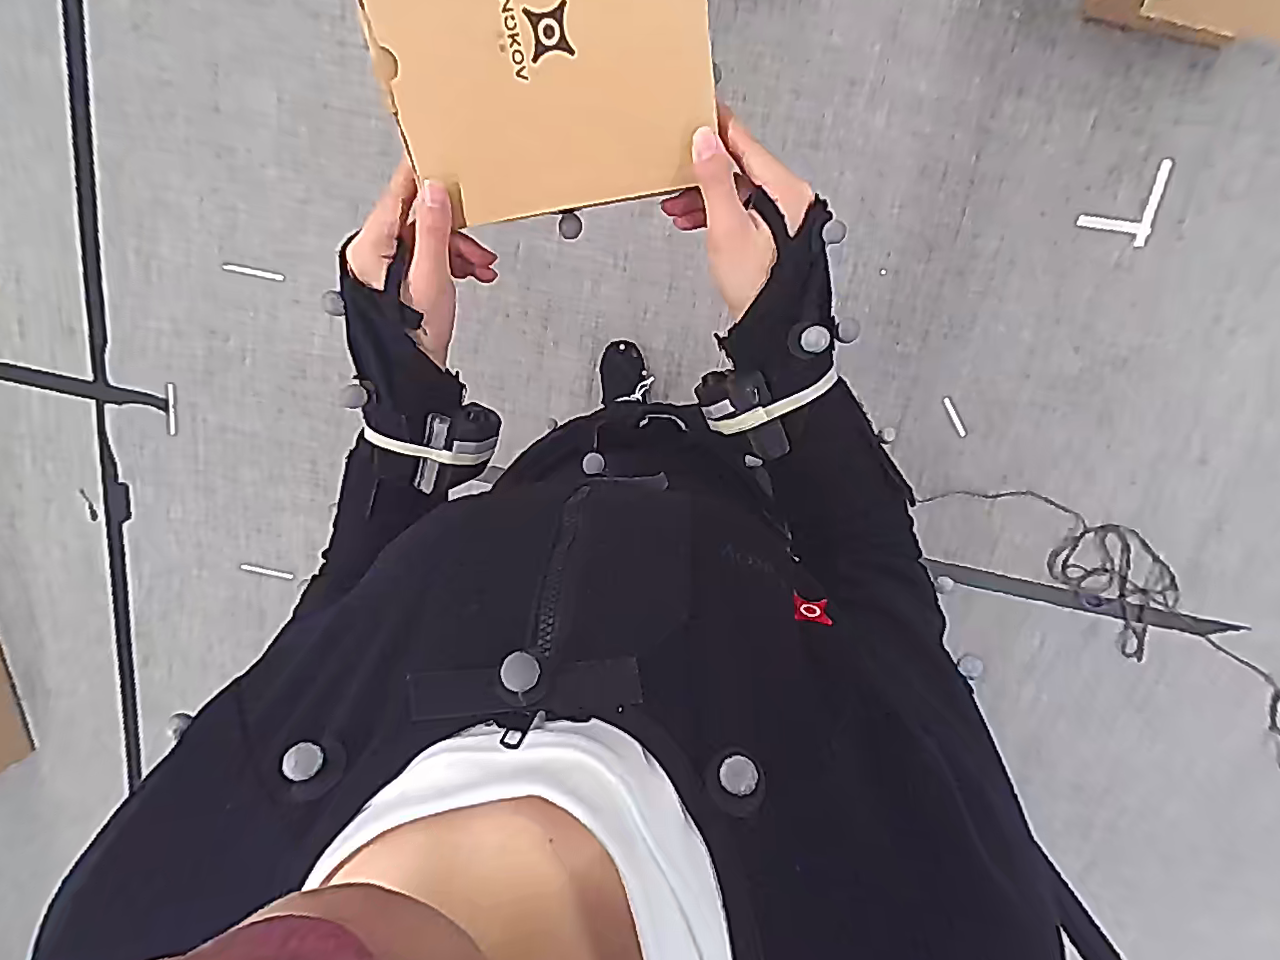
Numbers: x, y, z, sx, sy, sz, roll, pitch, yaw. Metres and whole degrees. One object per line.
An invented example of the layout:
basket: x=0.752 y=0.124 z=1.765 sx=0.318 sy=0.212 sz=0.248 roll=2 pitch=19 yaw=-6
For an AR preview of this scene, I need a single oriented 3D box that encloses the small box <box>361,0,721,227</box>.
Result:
small box: x=-0.052 y=-0.269 z=0.347 sx=0.179 sy=0.176 sz=0.168 roll=-8 pitch=118 yaw=4
